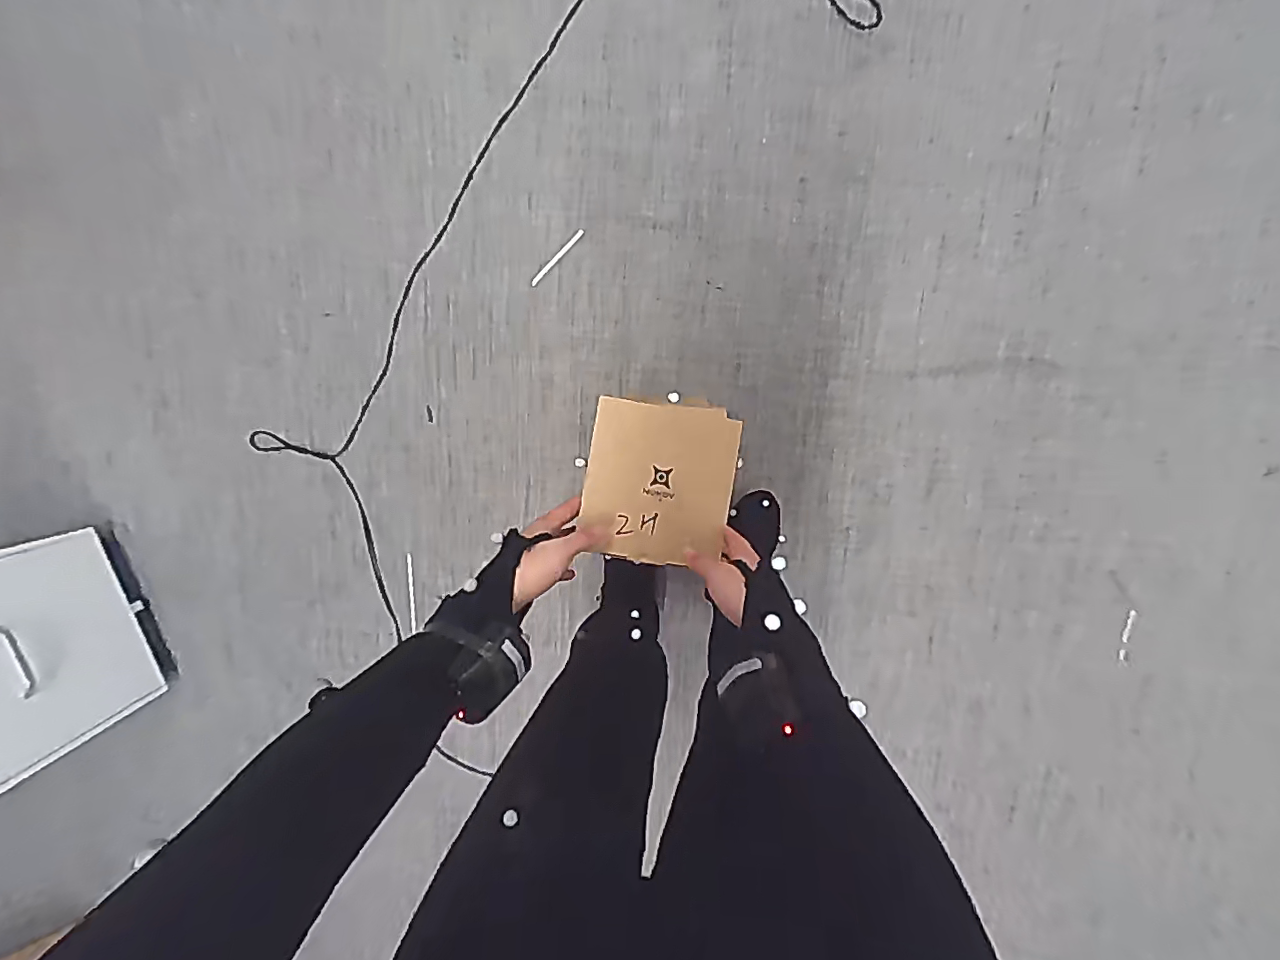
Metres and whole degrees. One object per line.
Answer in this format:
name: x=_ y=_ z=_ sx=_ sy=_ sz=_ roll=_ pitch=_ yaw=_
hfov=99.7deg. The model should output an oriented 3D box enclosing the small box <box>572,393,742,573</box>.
small box: x=0.014 y=0.006 z=0.678 sx=0.168 sy=0.176 sz=0.179 roll=11 pitch=87 yaw=-4
